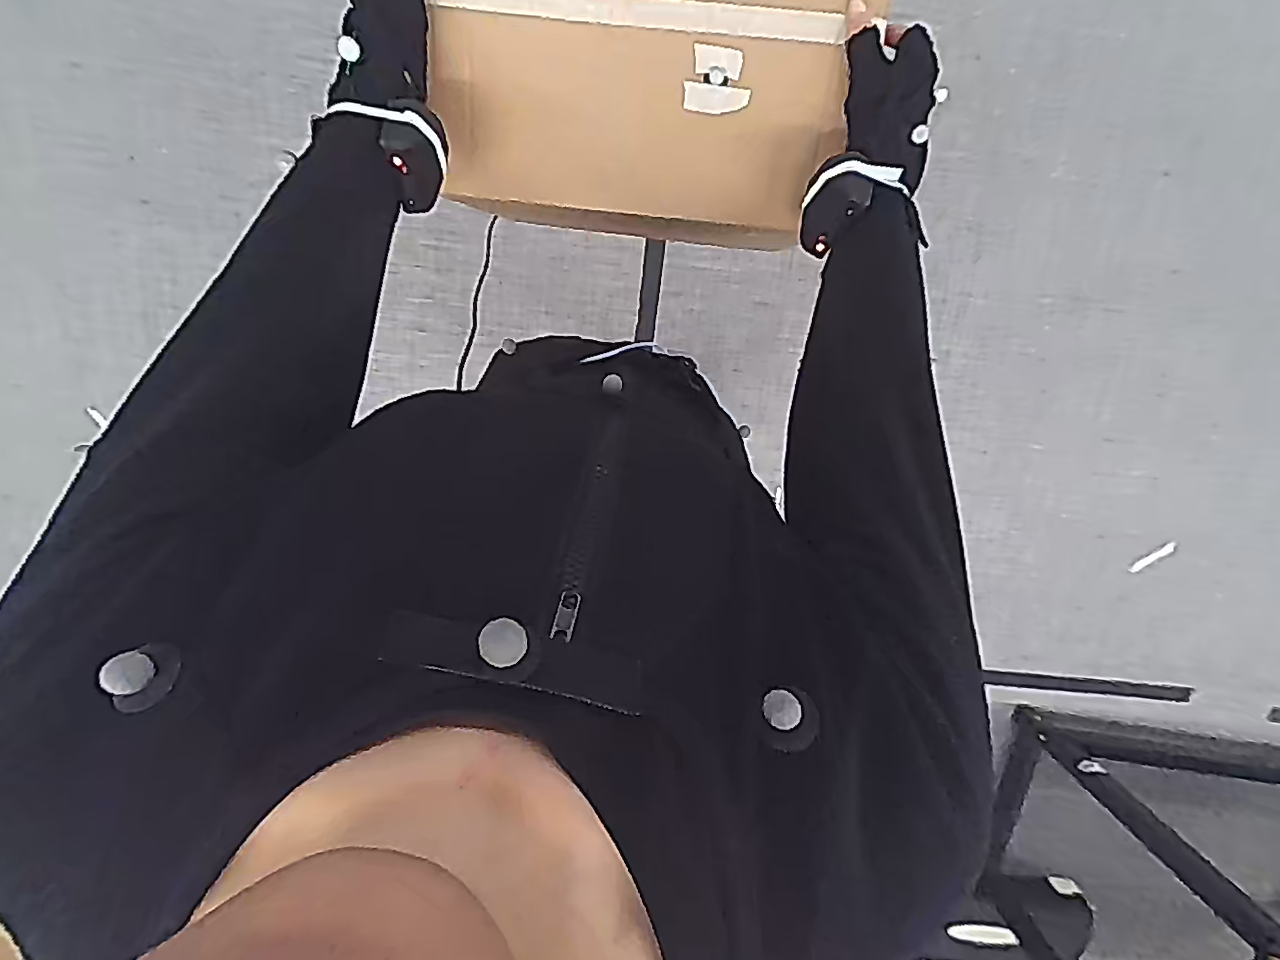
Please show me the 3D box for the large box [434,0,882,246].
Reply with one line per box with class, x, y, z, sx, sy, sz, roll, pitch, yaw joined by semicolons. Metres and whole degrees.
large box;0.015;-0.460;0.623;0.408;0.320;0.320;6;112;0
